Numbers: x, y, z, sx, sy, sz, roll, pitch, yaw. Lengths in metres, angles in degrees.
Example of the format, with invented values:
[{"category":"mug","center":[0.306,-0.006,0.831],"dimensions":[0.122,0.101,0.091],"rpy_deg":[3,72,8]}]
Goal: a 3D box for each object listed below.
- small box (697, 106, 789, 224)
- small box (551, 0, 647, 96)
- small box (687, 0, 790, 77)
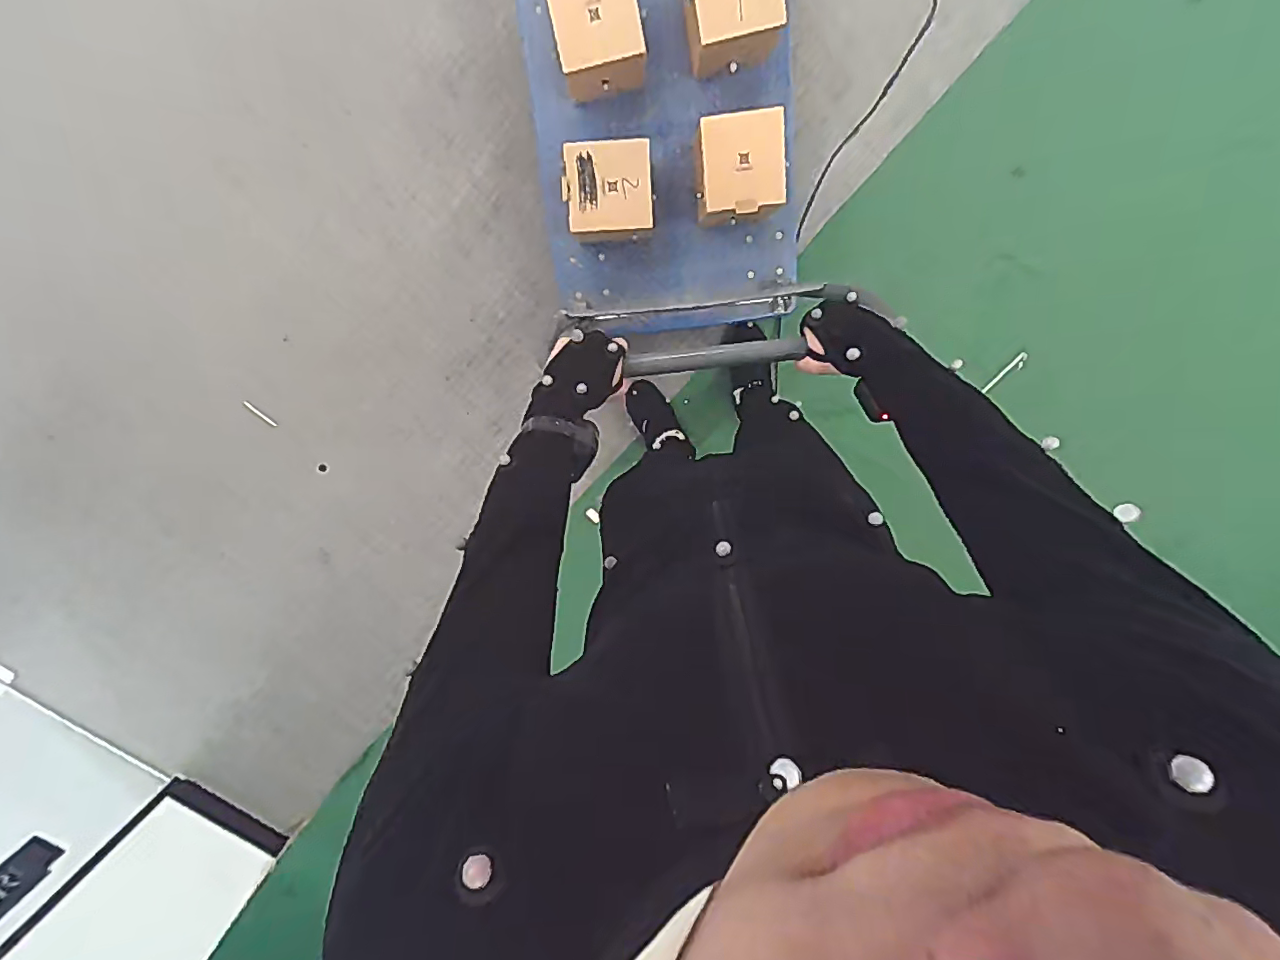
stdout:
[{"category":"small box","center":[0.214,-0.662,1.154],"dimensions":[0.168,0.176,0.179],"rpy_deg":[-6,108,2]},{"category":"small box","center":[-0.079,-0.901,1.081],"dimensions":[0.168,0.176,0.179],"rpy_deg":[-11,107,3]},{"category":"small box","center":[0.186,-0.943,1.065],"dimensions":[0.168,0.176,0.179],"rpy_deg":[-10,108,4]}]
